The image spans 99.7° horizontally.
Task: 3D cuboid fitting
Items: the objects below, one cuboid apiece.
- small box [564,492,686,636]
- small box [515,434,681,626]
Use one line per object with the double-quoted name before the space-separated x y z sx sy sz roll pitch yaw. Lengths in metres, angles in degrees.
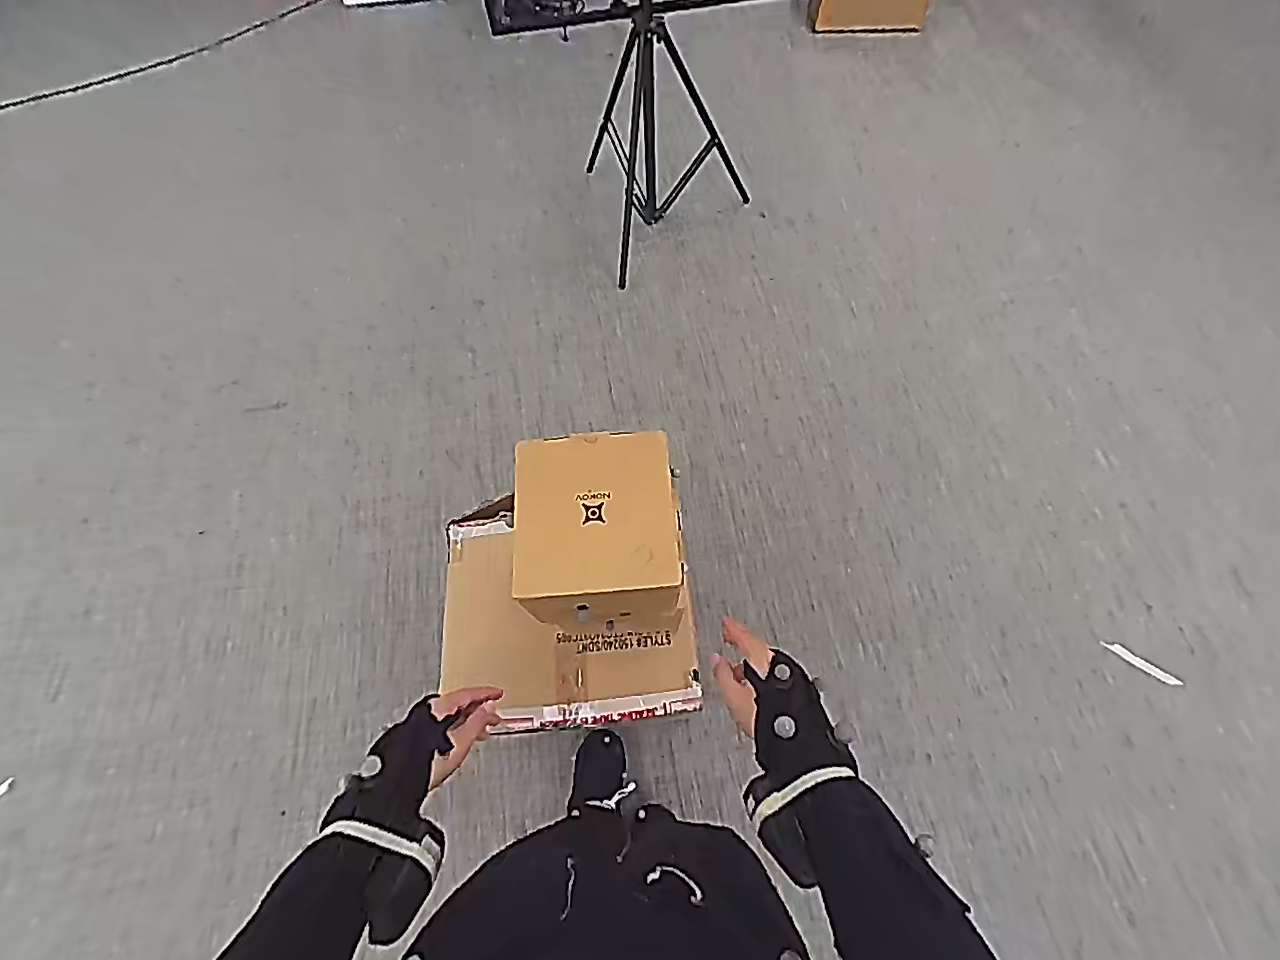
"small box" -0.029 0.127 0.778 0.179 0.176 0.168 -3 66 0
"small box" -0.043 0.068 0.627 0.168 0.176 0.179 -5 65 -1
